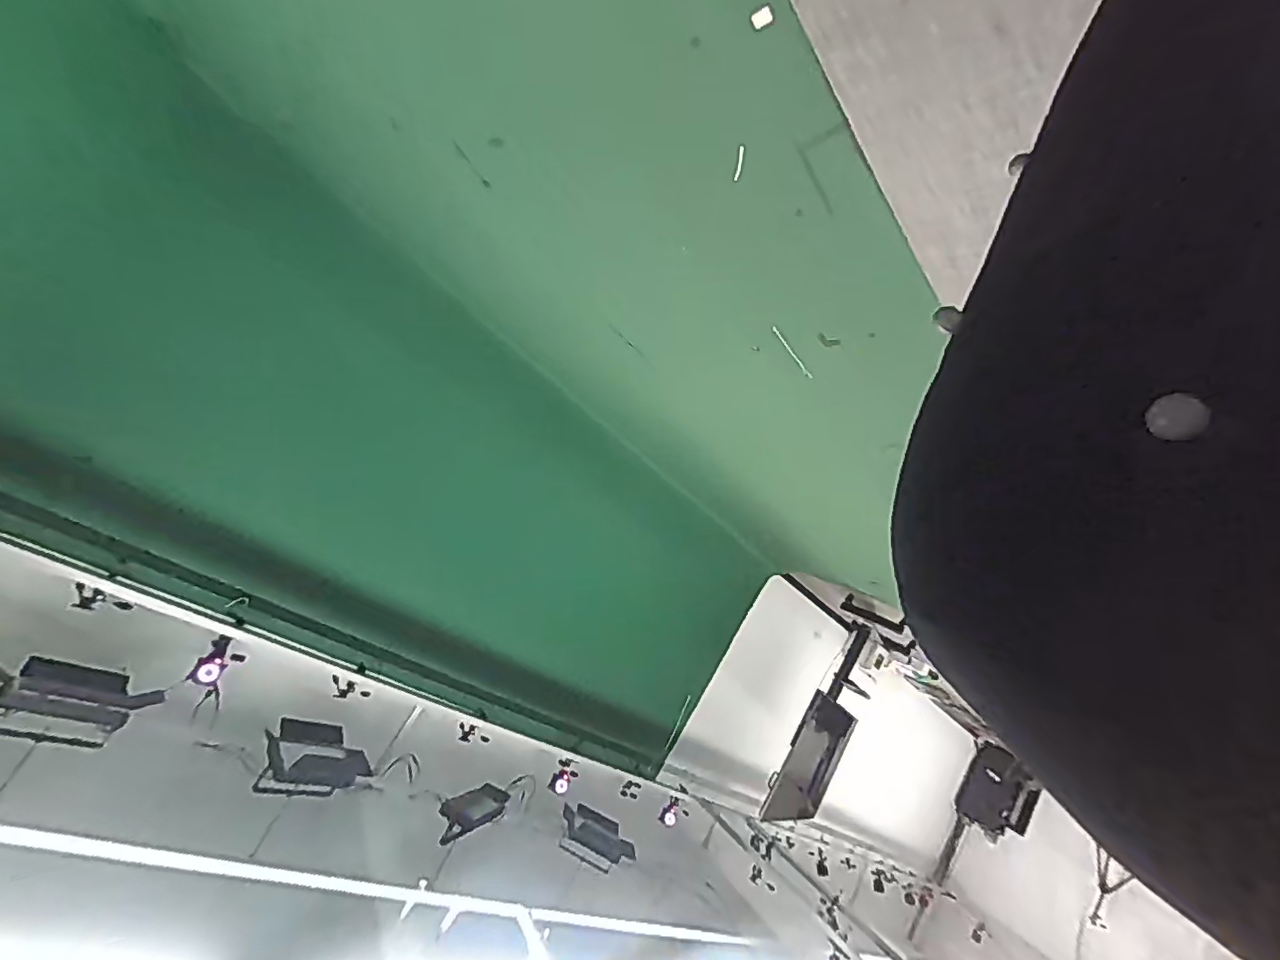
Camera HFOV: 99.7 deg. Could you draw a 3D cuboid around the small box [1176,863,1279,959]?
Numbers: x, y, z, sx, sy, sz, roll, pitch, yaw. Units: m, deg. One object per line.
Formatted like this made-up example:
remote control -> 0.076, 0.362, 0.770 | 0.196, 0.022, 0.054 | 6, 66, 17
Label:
small box -> 1.731, 1.264, 1.589 | 0.168, 0.176, 0.179 | 40, 166, -32
